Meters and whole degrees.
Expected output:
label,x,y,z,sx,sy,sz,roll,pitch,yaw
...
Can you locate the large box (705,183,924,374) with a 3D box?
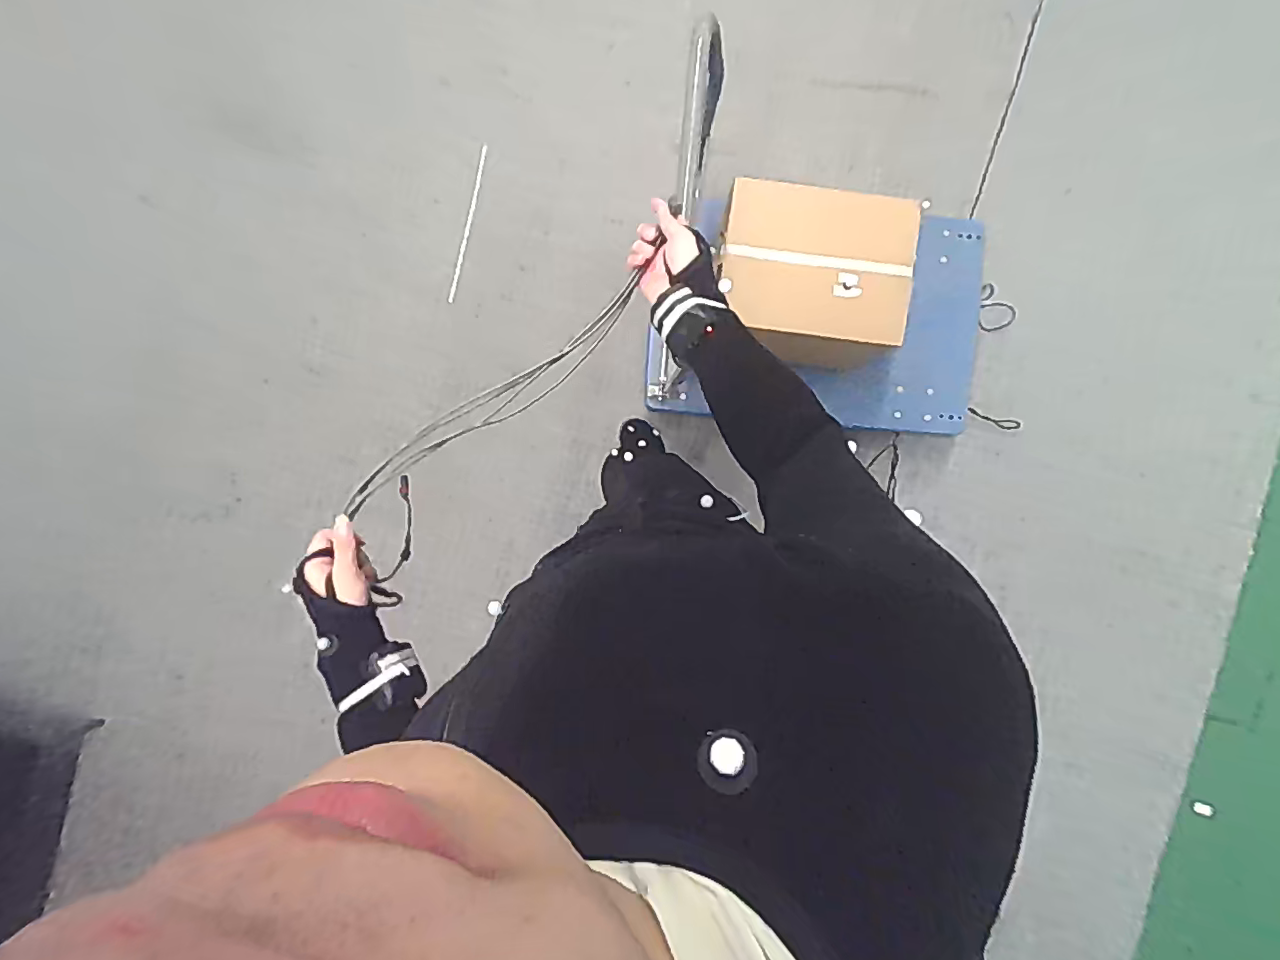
label,x,y,z,sx,sy,sz,roll,pitch,yaw
large box,0.384,-0.454,1.290,0.408,0.320,0.320,8,92,0
